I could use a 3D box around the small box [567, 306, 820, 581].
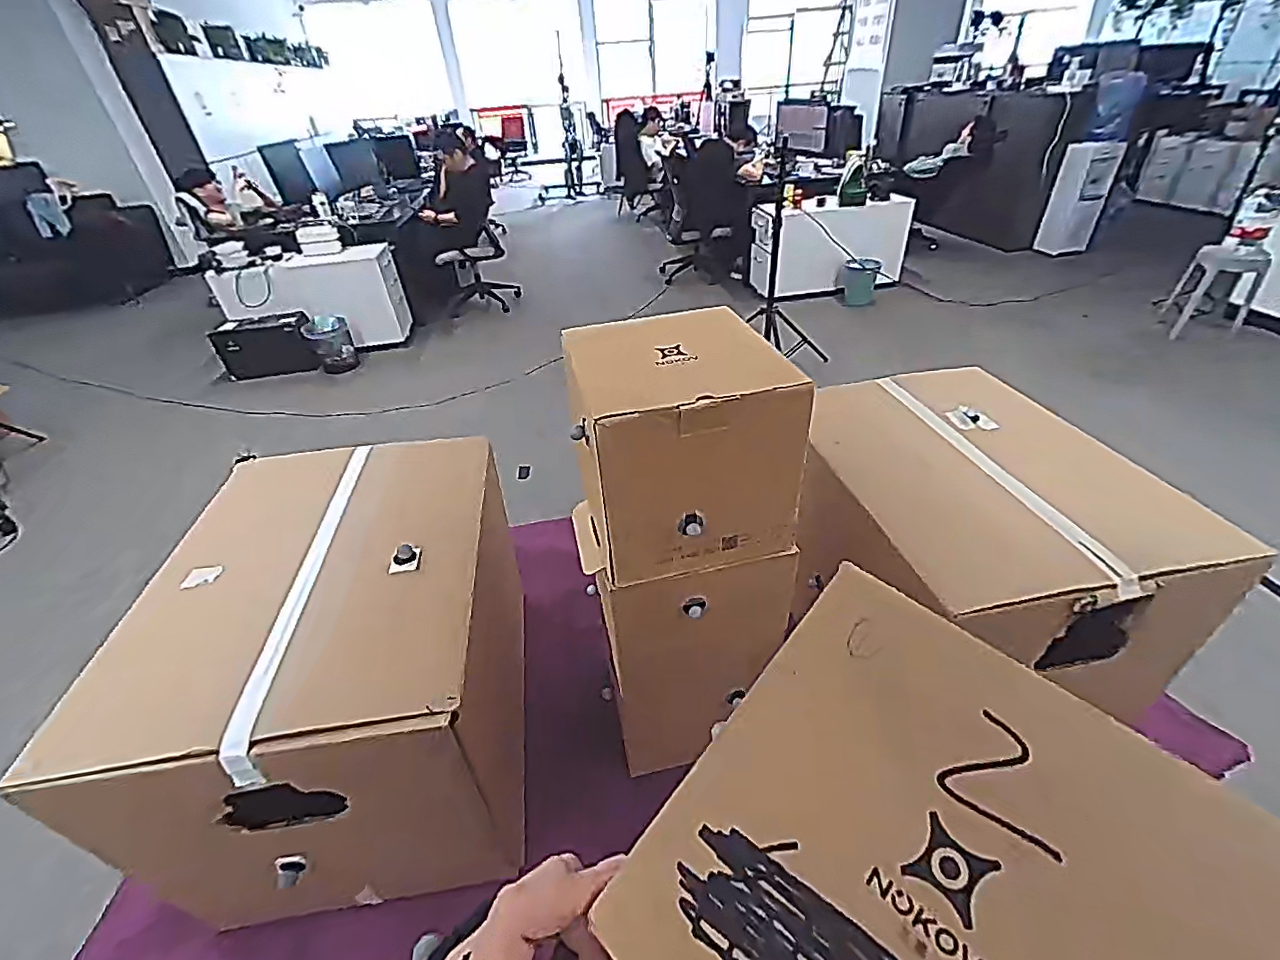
[{"bbox_3d":[0.034,-0.039,0.484,0.168,0.176,0.179,-11,37,-10],"label":"small box"}]

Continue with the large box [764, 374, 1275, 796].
[{"bbox_3d":[0.380,0.103,0.694,0.320,0.320,0.408,-8,35,-6],"label":"large box"}]
